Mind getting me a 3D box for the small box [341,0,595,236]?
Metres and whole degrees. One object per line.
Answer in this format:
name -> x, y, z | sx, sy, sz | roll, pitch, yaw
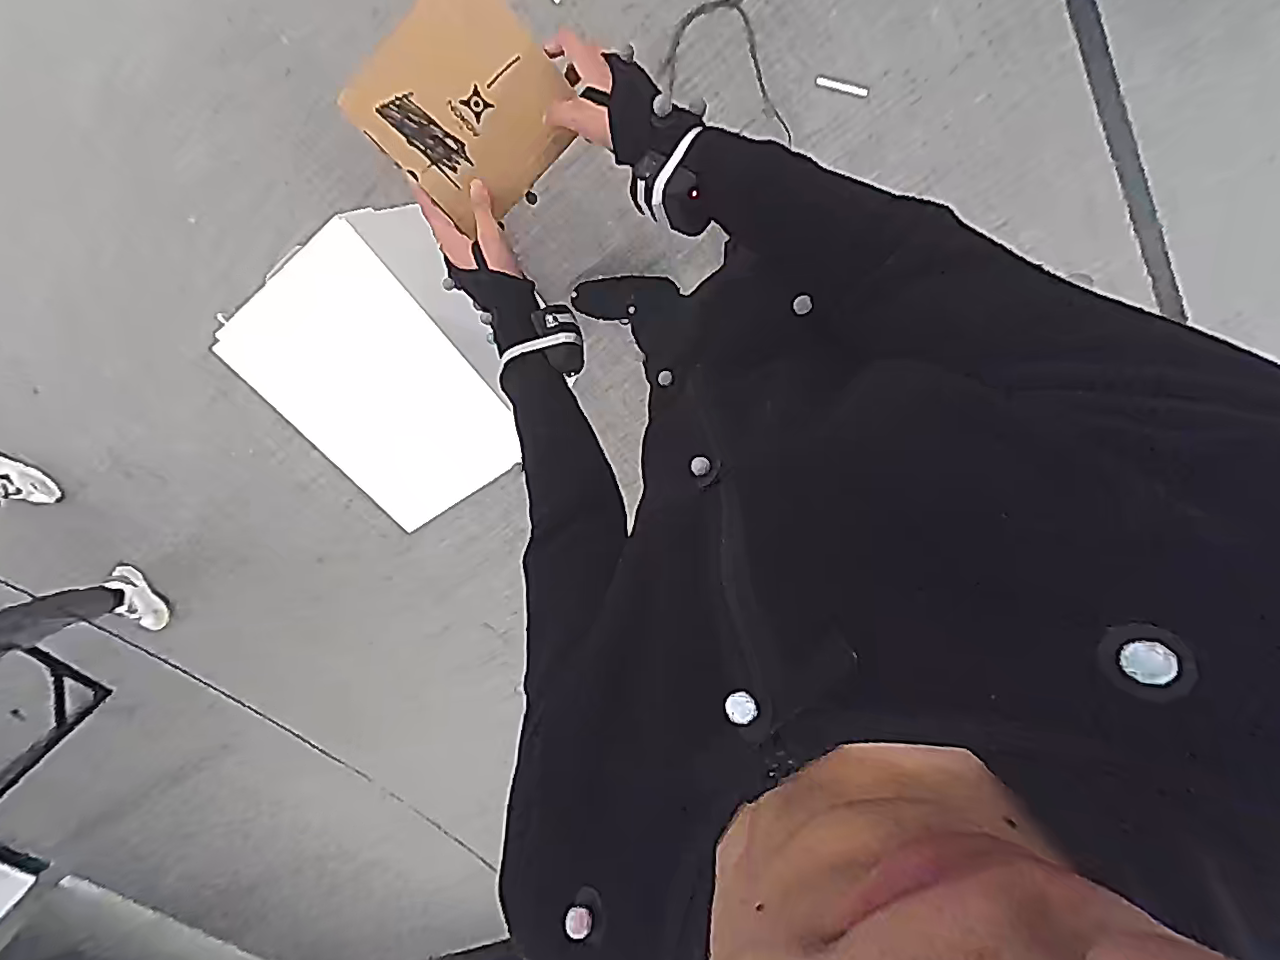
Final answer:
small box -> -0.170, -0.391, 0.577 | 0.179, 0.176, 0.168 | -41, 118, 11
